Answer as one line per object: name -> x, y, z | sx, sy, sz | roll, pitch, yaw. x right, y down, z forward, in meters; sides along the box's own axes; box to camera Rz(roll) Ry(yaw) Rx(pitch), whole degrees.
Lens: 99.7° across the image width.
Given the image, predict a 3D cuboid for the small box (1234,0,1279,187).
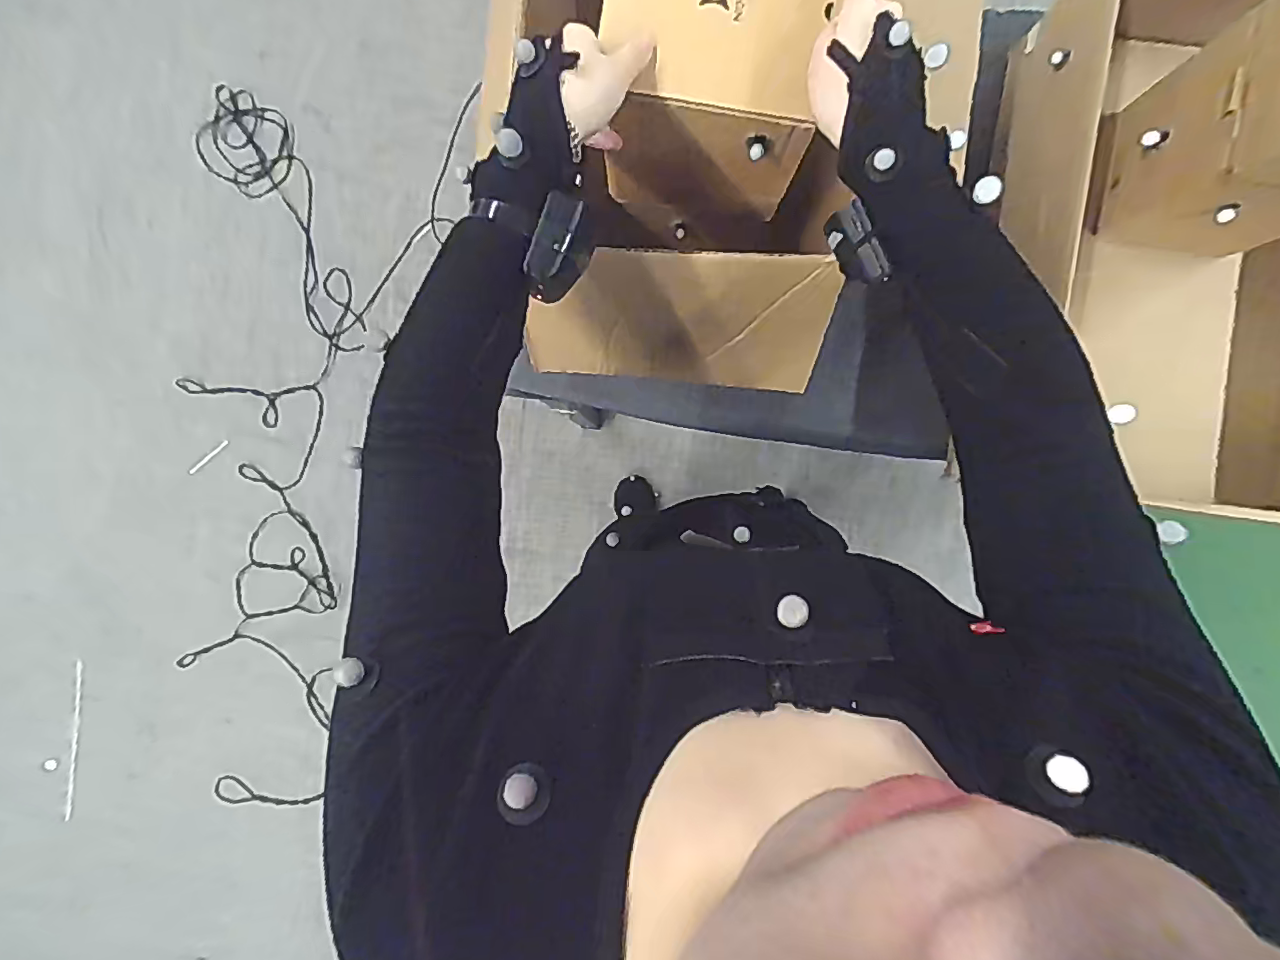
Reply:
small box -> 0.681, -0.373, 0.459 | 0.168, 0.176, 0.179 | 8, 92, 2
